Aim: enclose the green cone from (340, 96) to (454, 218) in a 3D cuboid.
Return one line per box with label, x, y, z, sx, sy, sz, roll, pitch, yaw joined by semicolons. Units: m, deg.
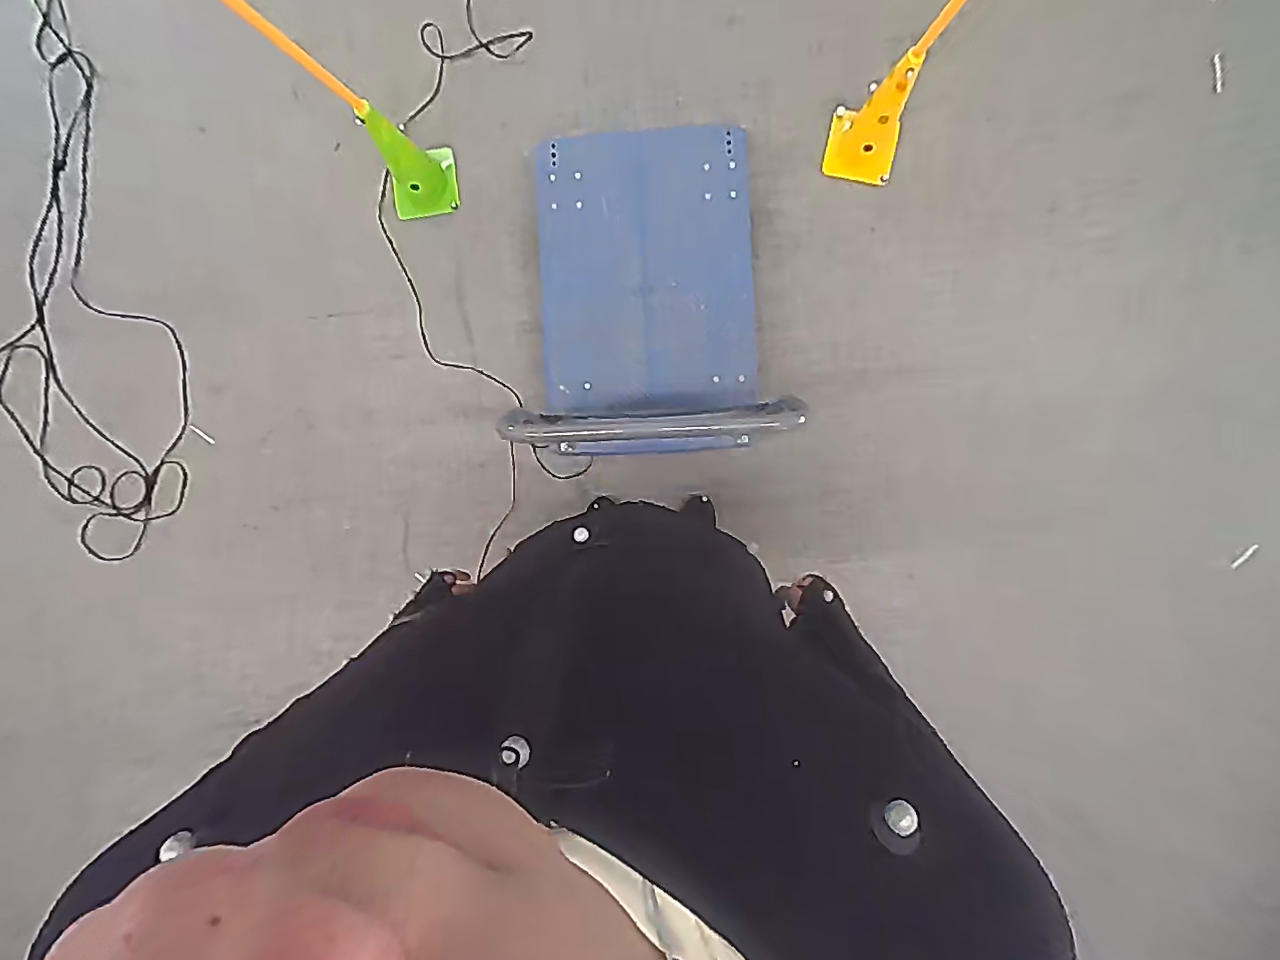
green cone;-0.688;-0.914;1.482;0.202;0.368;0.200;-9;89;4
